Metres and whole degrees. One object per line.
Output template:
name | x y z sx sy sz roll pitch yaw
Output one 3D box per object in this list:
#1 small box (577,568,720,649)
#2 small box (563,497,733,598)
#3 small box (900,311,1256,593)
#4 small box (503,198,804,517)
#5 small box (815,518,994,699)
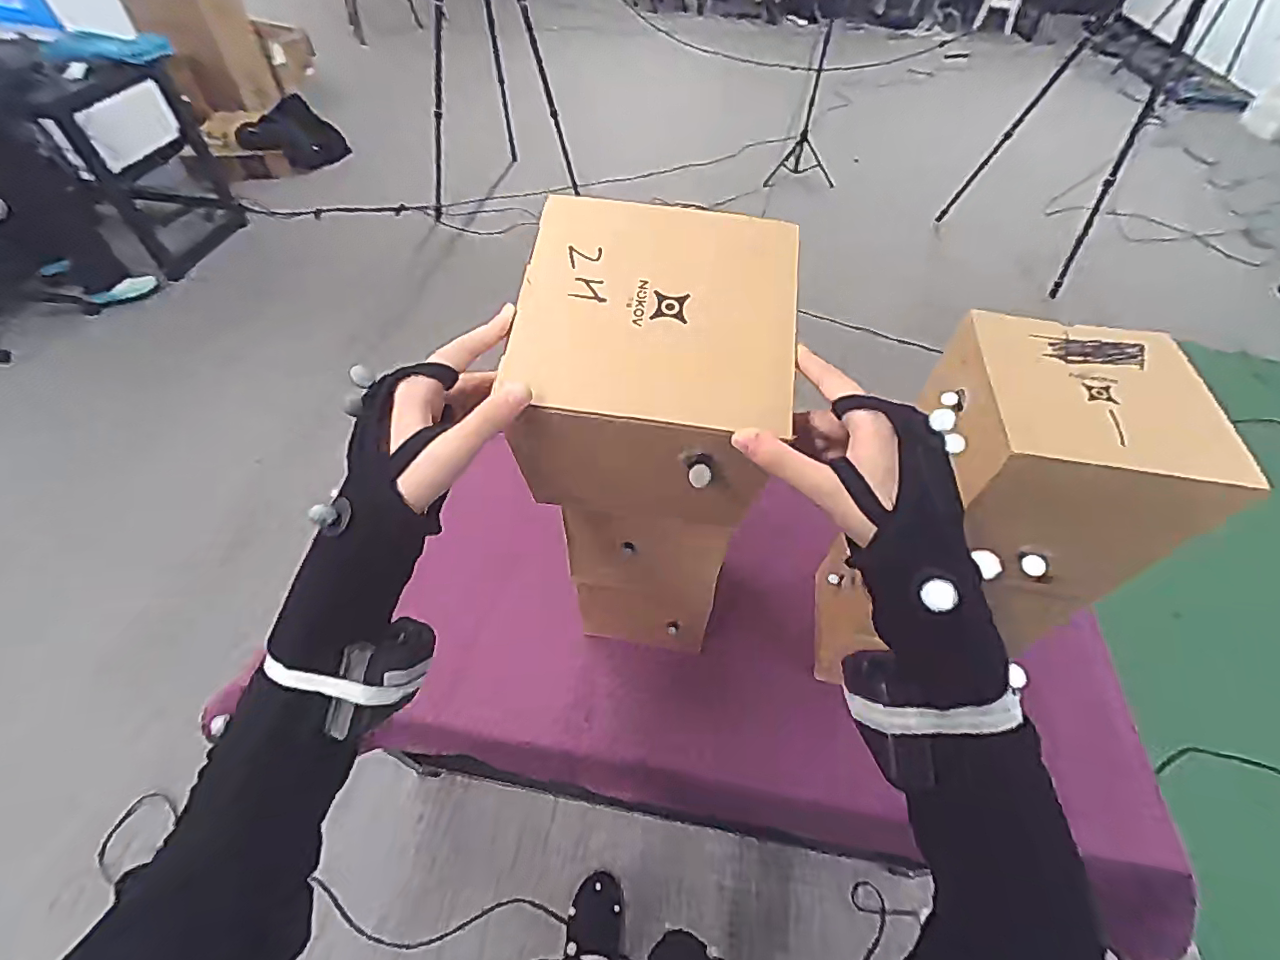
small box | 0.018 0.126 0.778 0.179 0.176 0.168 9 51 5
small box | 0.019 0.024 0.649 0.179 0.176 0.168 9 51 5
small box | 0.354 -0.024 0.489 0.168 0.176 0.179 9 52 6
small box | 0.014 -0.081 0.420 0.179 0.176 0.168 8 66 3
small box | 0.347 0.181 0.747 0.168 0.176 0.179 10 51 6
